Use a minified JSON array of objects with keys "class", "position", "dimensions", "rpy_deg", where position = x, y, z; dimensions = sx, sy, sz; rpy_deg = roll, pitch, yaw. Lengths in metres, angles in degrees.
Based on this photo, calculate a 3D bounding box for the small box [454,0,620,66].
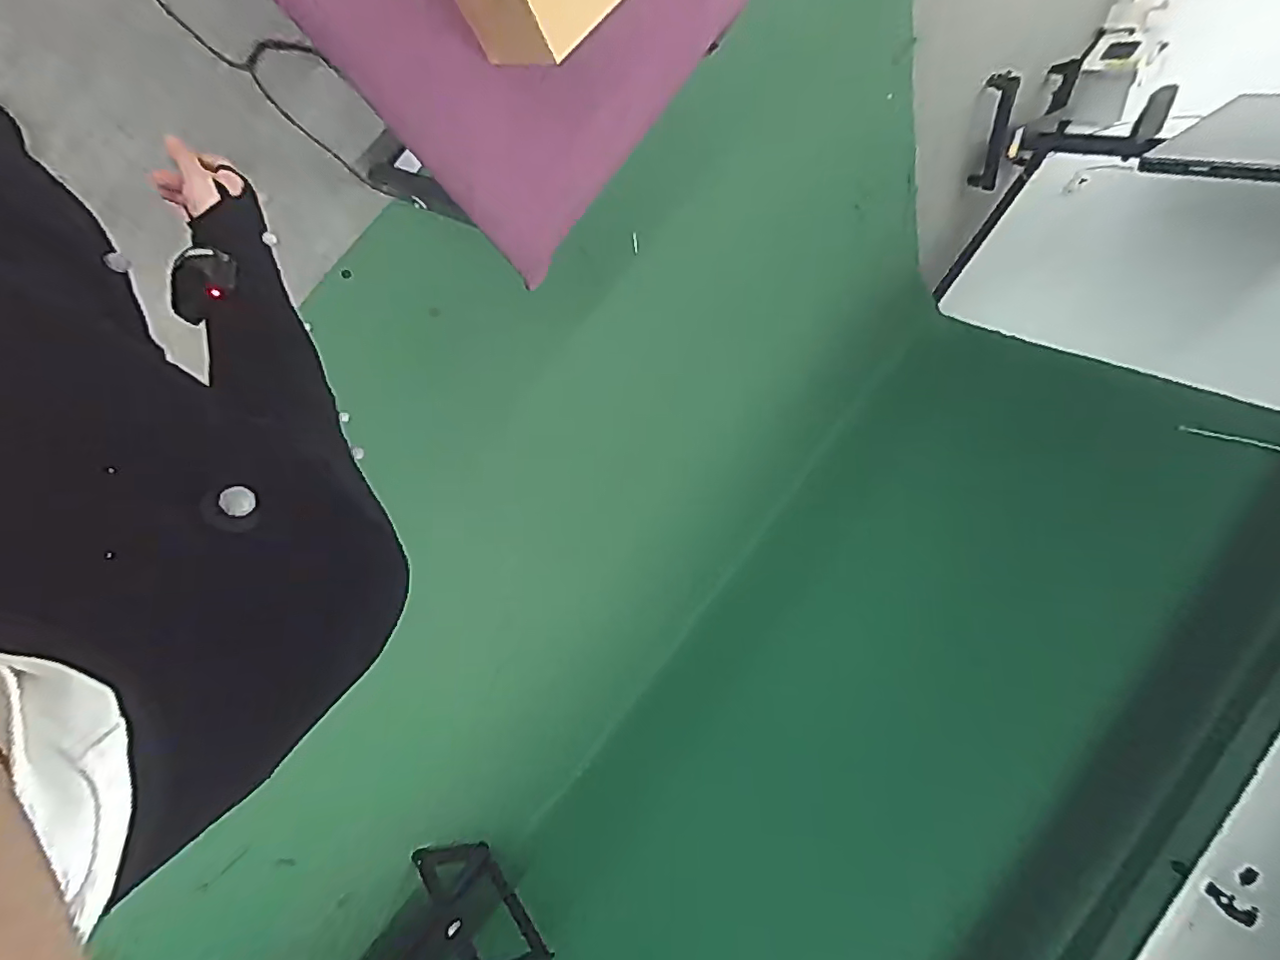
[{"class":"small box","position":[-0.145,-0.665,0.677],"dimensions":[0.168,0.176,0.179],"rpy_deg":[-50,143,-7]}]
